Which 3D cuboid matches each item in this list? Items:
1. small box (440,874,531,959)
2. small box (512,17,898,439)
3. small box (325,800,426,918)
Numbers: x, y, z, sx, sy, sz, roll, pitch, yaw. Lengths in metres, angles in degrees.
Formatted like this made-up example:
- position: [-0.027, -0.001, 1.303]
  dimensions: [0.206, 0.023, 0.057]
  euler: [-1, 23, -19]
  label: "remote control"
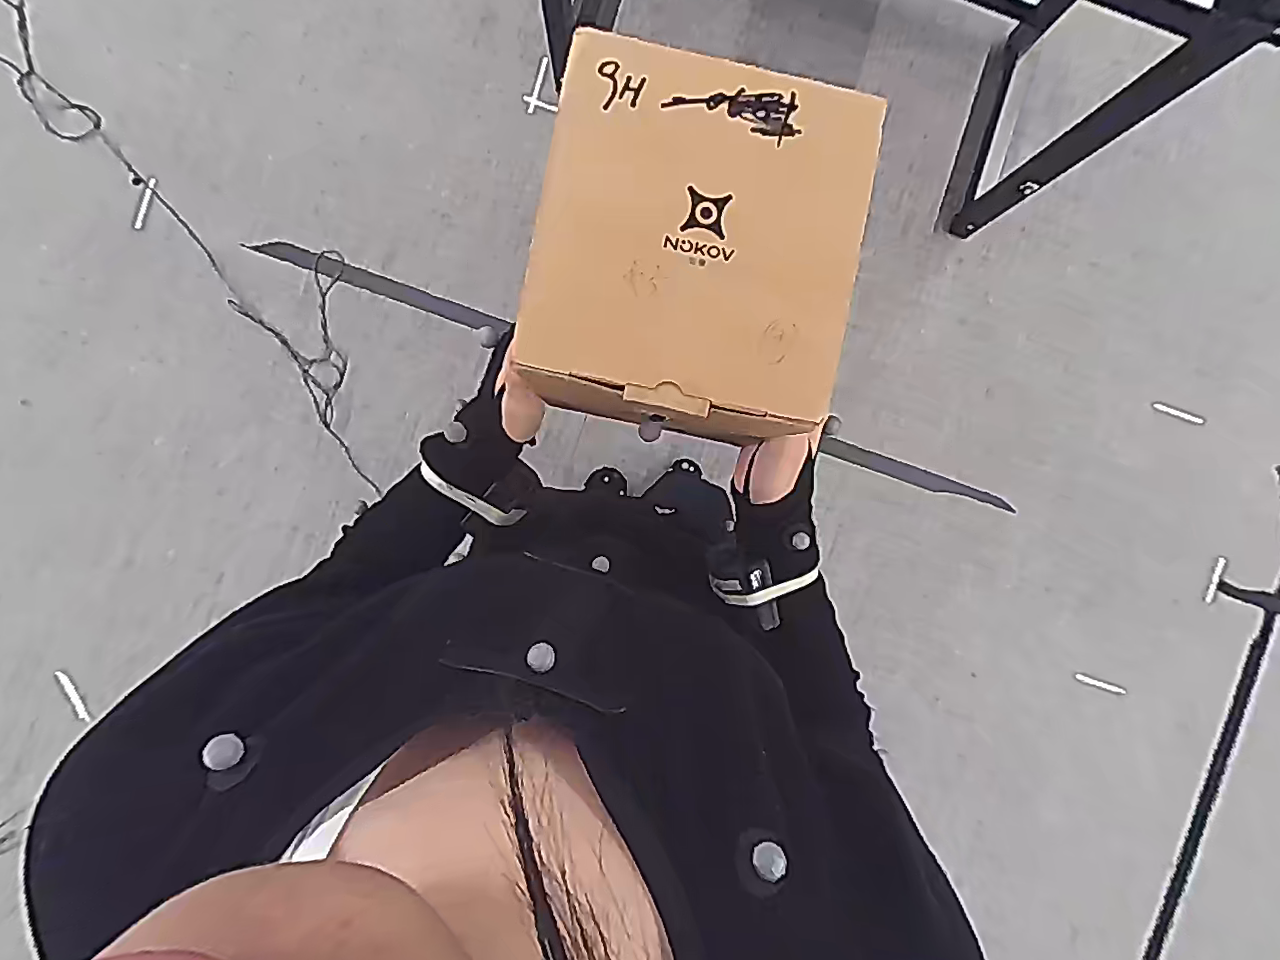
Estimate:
- position: [-0.401, 1.178, 1.407]
  dimensions: [0.179, 0.176, 0.168]
  euler: [20, 90, -4]
  label: "small box"
- position: [0.029, -0.127, 0.349]
  dimensions: [0.168, 0.176, 0.179]
  euler: [12, 91, -4]
  label: "small box"
- position: [-0.669, 0.962, 1.389]
  dimensions: [0.168, 0.176, 0.179]
  euler: [13, 91, -3]
  label: "small box"
